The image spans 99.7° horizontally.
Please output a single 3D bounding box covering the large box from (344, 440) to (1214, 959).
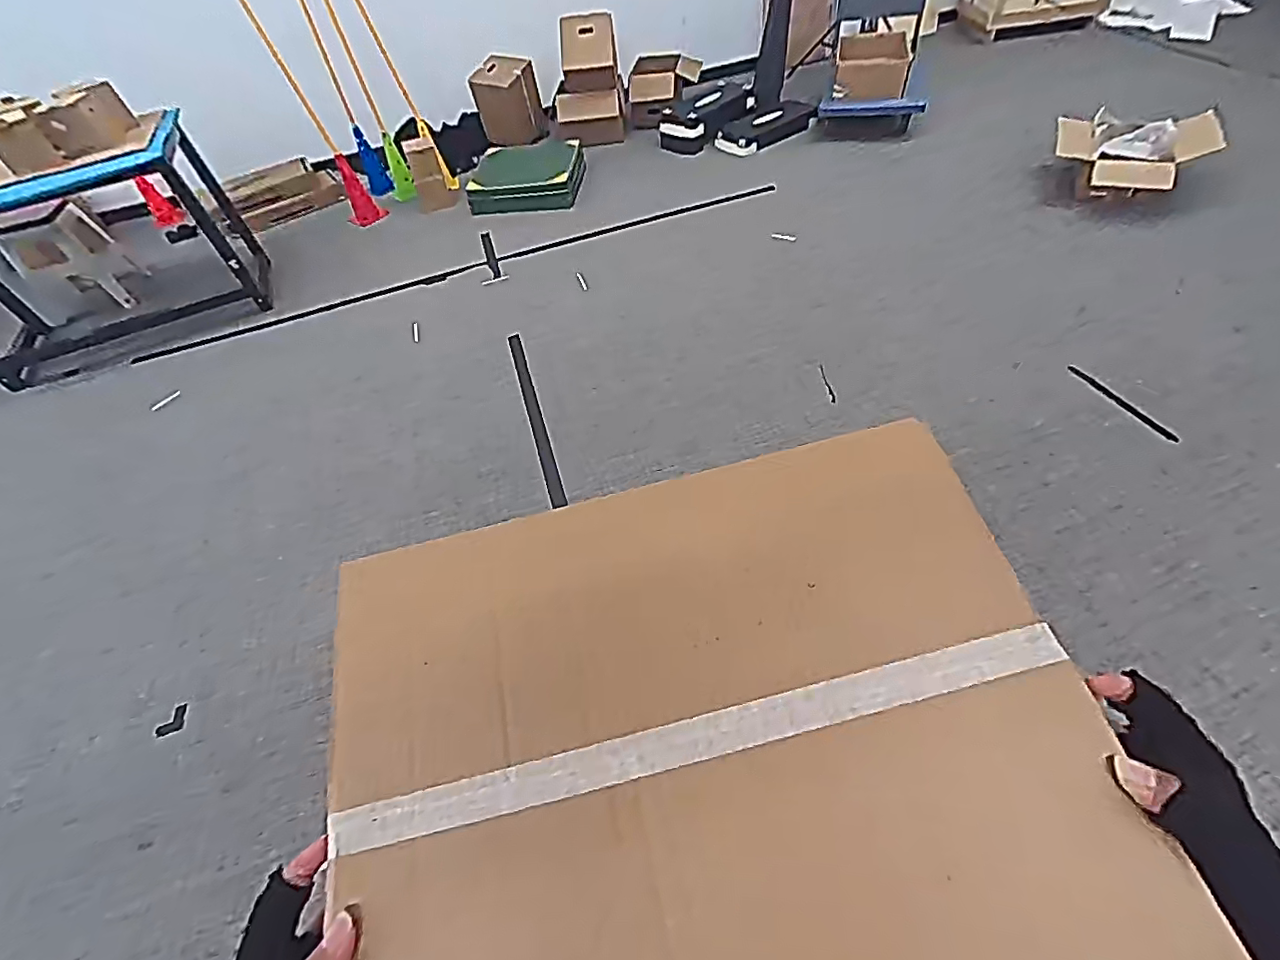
[{"bbox_3d":[0.050,0.219,0.431,0.408,0.320,0.320,-14,61,-1],"label":"large box"}]
